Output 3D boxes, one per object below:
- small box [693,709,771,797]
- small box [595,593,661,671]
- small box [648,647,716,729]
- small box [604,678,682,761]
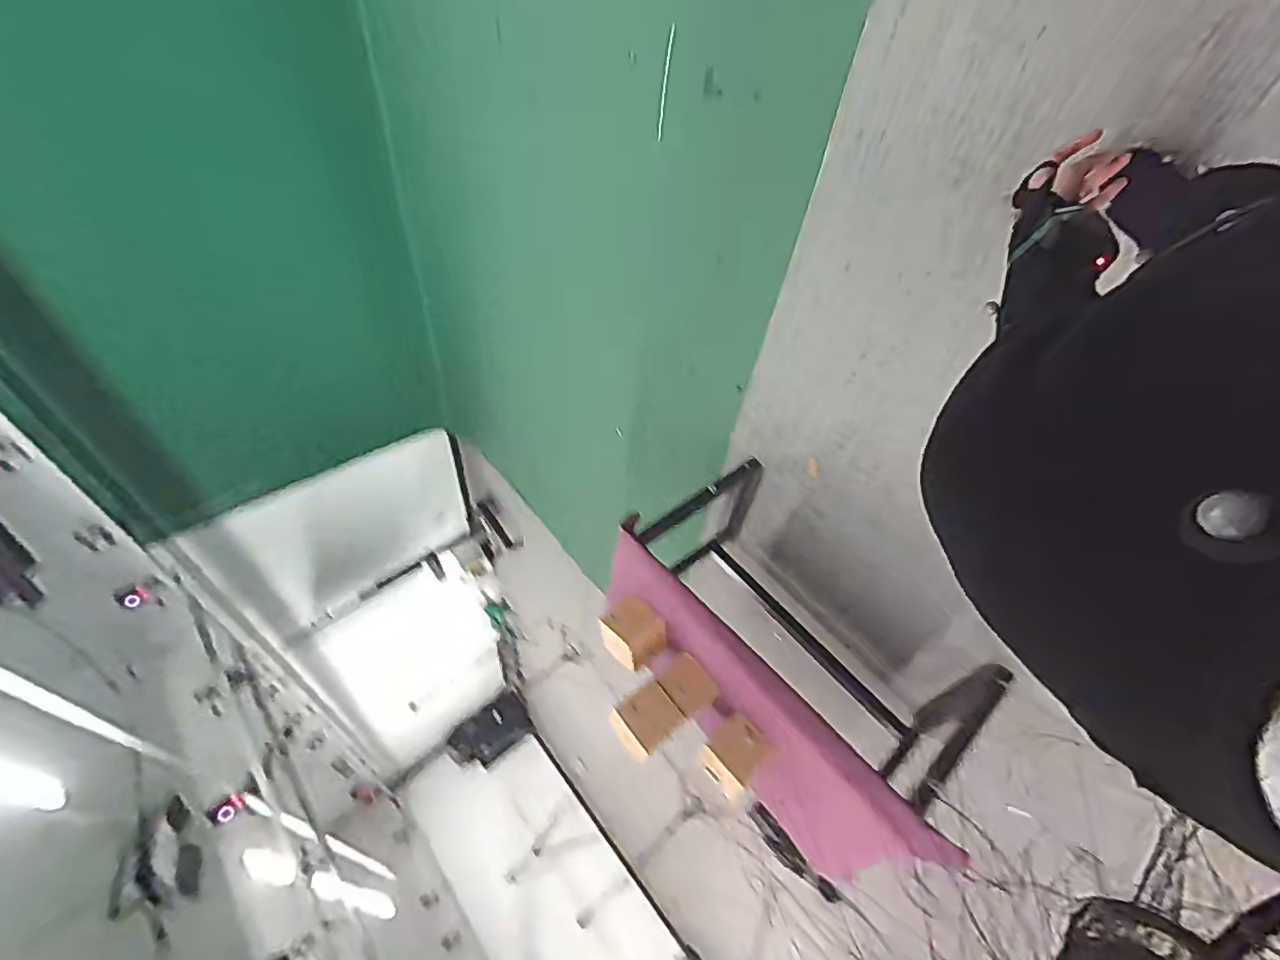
[{"bbox_3d":[0.299,0.886,1.760,0.168,0.176,0.179,42,145,28],"label":"small box"},{"bbox_3d":[-0.035,0.543,1.961,0.179,0.176,0.168,29,139,41],"label":"small box"},{"bbox_3d":[0.133,0.714,1.861,0.179,0.176,0.168,46,147,22],"label":"small box"},{"bbox_3d":[0.008,0.778,1.774,0.179,0.176,0.168,46,147,21],"label":"small box"}]
